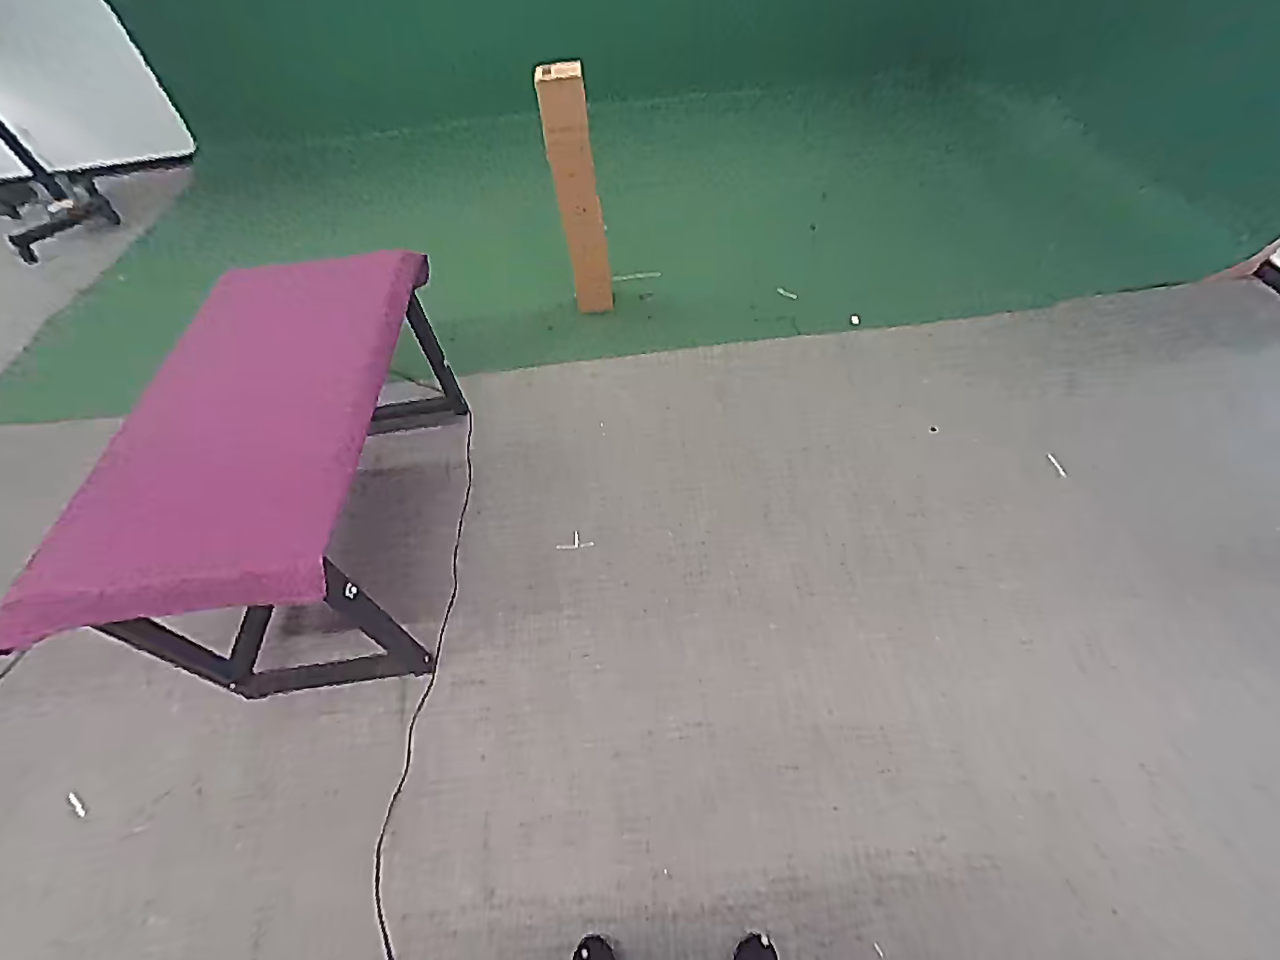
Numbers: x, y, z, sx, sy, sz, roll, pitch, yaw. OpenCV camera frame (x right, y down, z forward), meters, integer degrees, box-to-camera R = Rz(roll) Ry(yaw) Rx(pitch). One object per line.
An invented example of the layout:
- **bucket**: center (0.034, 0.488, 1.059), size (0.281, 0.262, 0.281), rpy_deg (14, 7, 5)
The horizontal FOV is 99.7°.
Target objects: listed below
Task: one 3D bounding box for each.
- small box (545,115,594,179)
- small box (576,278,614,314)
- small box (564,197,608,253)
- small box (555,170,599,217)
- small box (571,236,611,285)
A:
- **small box**: center (-0.285, -1.369, 2.225), size (0.179, 0.176, 0.168), rpy_deg (-9, 51, 1)
- **small box**: center (-0.226, -0.962, 2.732), size (0.179, 0.176, 0.168), rpy_deg (-6, 52, 1)
- **small box**: center (-0.251, -1.166, 2.479), size (0.179, 0.176, 0.168), rpy_deg (-10, 52, -2)
- **small box**: center (-0.274, -1.266, 2.352), size (0.168, 0.176, 0.179), rpy_deg (-9, 53, 0)
- **small box**: center (-0.234, -1.064, 2.607), size (0.179, 0.176, 0.168), rpy_deg (-9, 52, 0)
